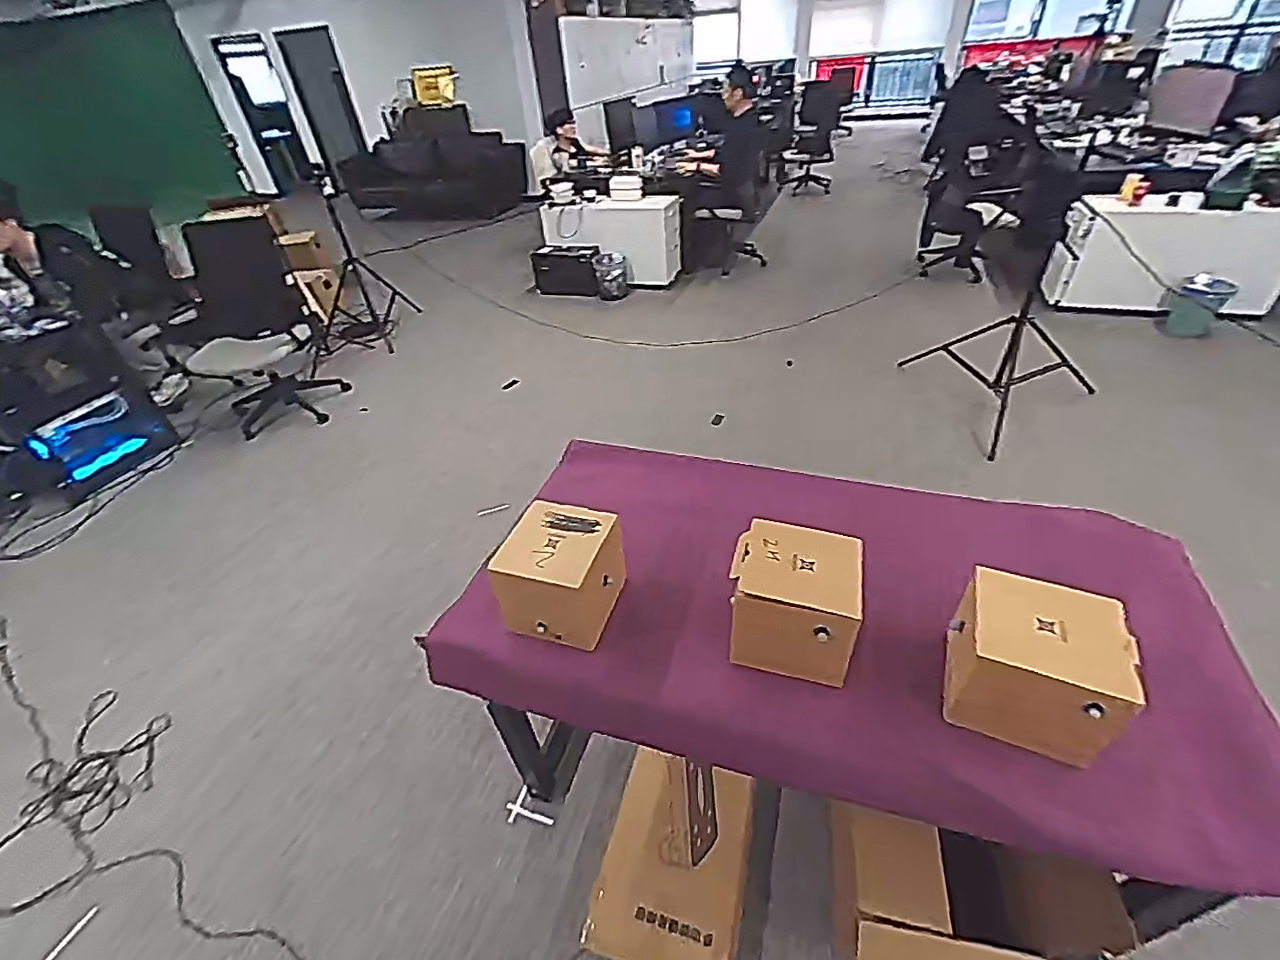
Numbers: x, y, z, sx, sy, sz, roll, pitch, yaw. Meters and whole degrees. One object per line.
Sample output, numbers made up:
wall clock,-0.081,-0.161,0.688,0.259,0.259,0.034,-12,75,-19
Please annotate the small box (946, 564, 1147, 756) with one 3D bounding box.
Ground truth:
small box,0.545,0.250,0.755,0.179,0.176,0.168,13,42,22

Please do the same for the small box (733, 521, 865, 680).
small box,0.250,0.192,0.863,0.179,0.176,0.168,8,38,17
